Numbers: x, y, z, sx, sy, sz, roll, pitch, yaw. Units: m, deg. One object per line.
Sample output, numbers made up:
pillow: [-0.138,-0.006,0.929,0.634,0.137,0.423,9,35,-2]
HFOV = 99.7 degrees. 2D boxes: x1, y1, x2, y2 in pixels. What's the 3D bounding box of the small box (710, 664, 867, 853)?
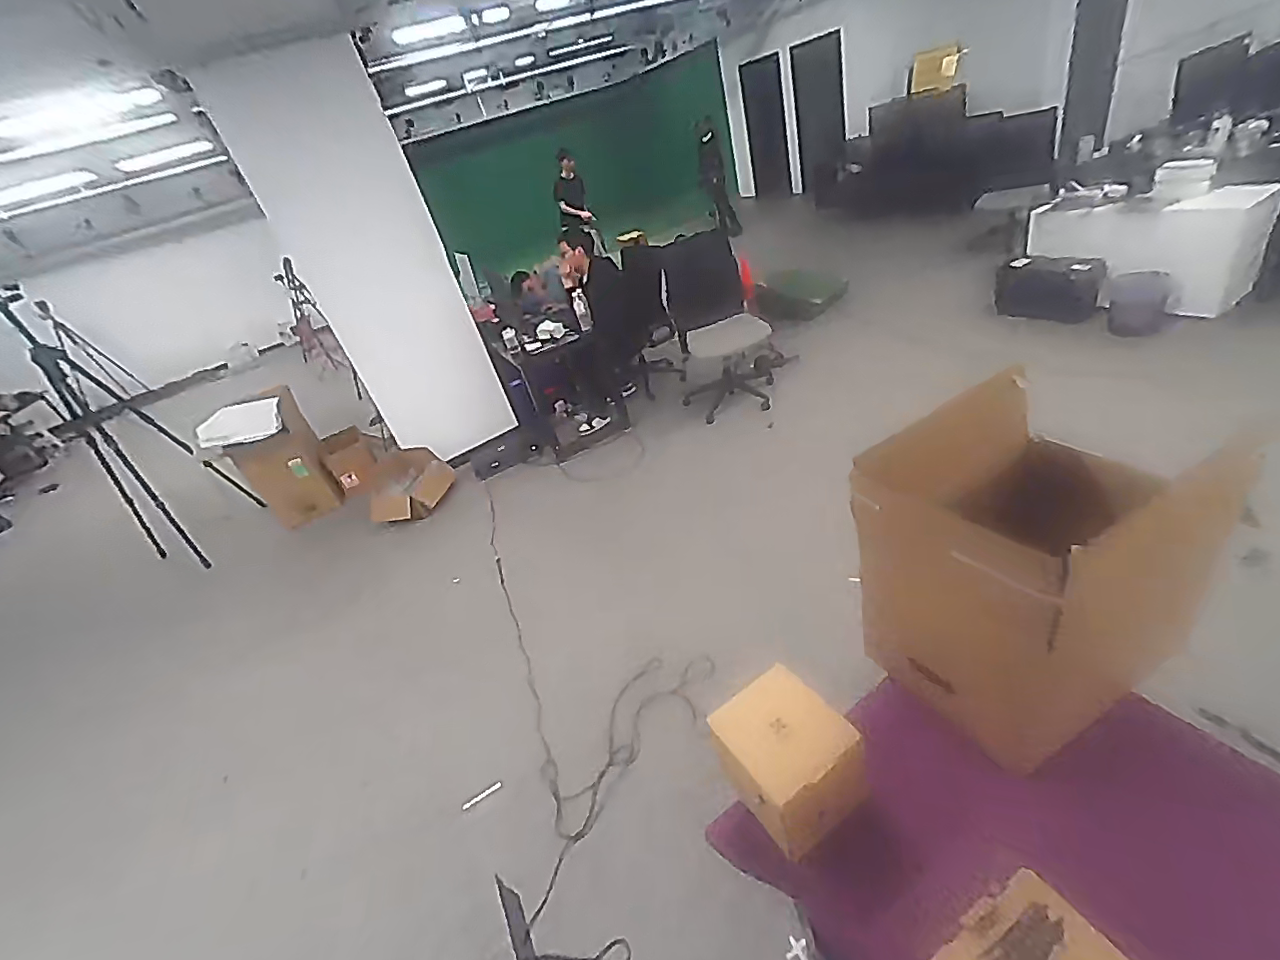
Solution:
small box: [0.238,0.443,0.868,0.168,0.176,0.179,-30,35,-19]
